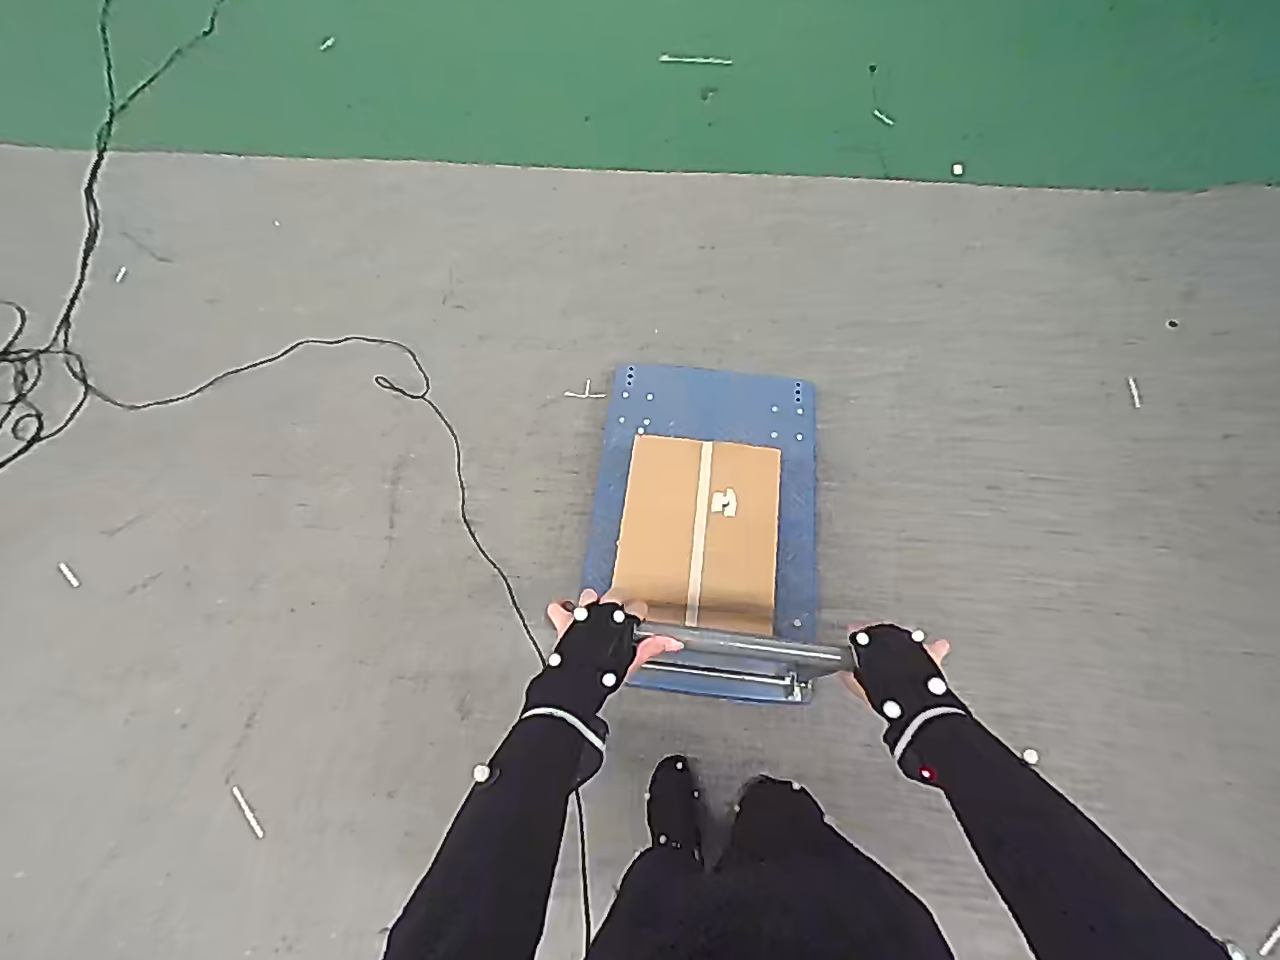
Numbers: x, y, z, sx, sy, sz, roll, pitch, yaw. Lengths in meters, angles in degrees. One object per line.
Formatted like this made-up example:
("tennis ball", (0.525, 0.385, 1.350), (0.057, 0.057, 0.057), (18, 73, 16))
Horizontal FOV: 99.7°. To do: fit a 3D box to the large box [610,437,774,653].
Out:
("large box", (0.117, 0.161, 1.228), (0.320, 0.320, 0.408), (7, 68, 3))
